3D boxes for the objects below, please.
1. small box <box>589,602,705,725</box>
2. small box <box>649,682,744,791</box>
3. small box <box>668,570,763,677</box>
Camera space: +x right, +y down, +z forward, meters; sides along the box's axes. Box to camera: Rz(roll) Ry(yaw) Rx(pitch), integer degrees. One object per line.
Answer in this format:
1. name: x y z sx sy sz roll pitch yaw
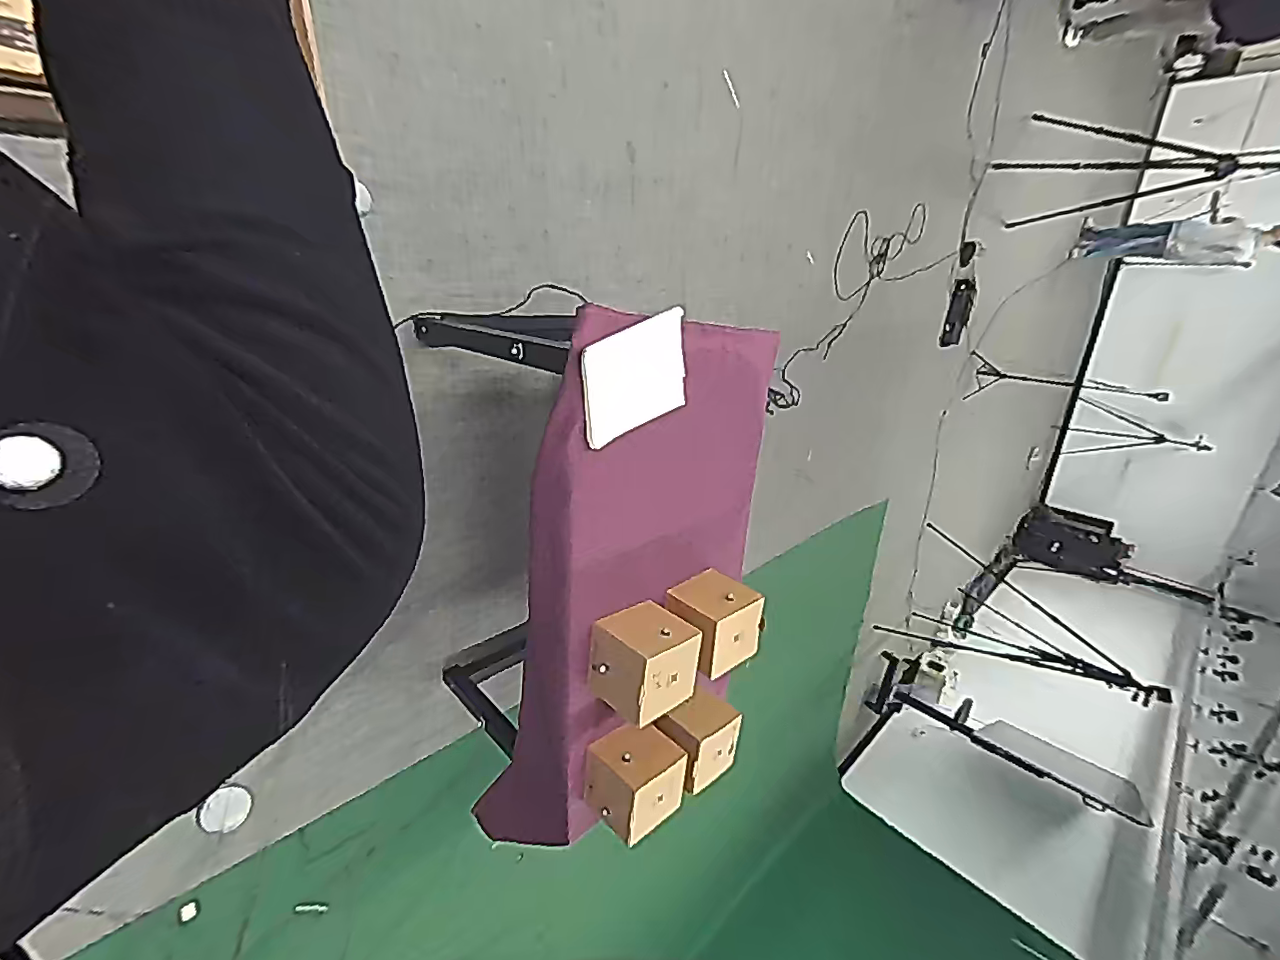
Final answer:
1. small box: 0.014 0.389 1.183 0.179 0.176 0.168 -9 112 -43
2. small box: 0.145 0.670 1.435 0.179 0.176 0.168 -7 111 -43
3. small box: 0.178 0.346 1.337 0.179 0.176 0.168 -16 117 -41
